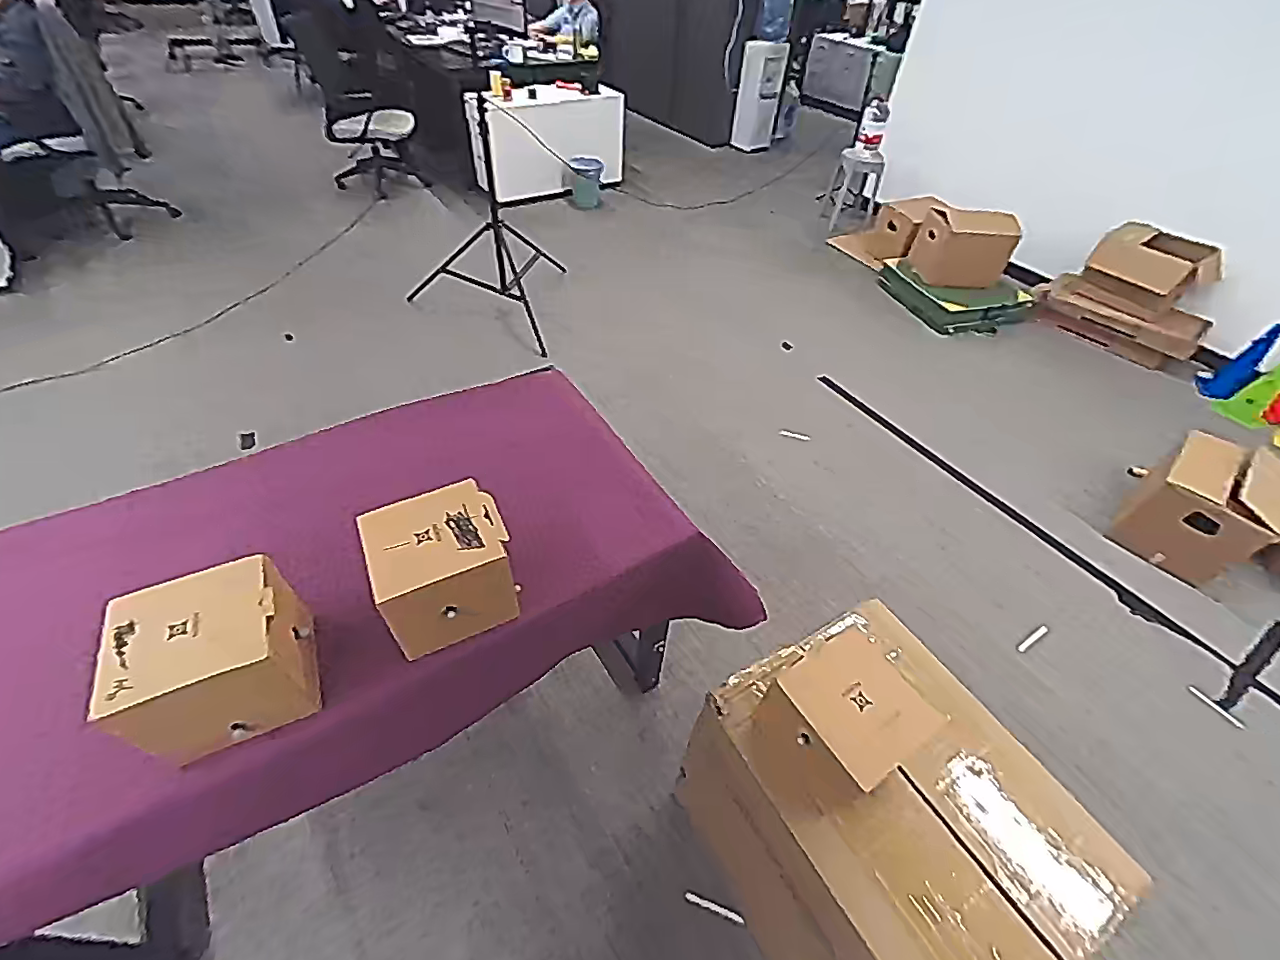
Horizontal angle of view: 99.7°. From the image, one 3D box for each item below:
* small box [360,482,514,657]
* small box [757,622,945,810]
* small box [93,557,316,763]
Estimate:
[{"bbox_3d":[-0.301,0.137,0.828,0.179,0.176,0.168,-20,50,-20],"label":"small box"},{"bbox_3d":[0.299,0.354,0.810,0.168,0.176,0.179,-26,55,-22],"label":"small box"},{"bbox_3d":[-0.551,0.237,0.715,0.179,0.176,0.168,-18,49,-21],"label":"small box"}]
